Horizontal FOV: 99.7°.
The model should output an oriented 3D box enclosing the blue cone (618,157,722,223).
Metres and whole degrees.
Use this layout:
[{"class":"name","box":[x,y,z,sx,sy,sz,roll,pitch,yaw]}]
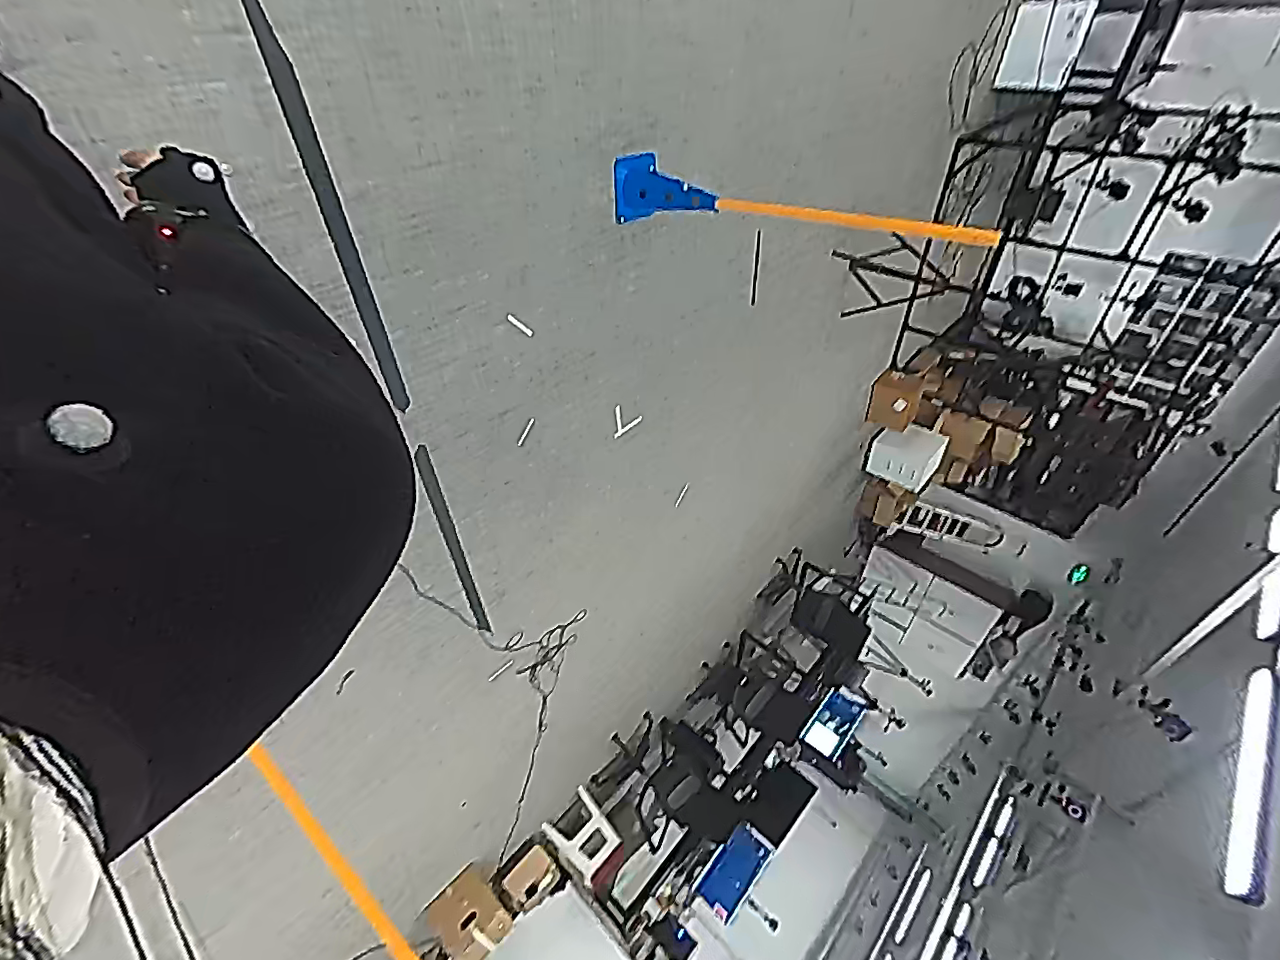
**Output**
[{"class":"blue cone","box":[0.110,-0.929,1.774,0.193,0.380,0.192,-33,140,-35]}]
